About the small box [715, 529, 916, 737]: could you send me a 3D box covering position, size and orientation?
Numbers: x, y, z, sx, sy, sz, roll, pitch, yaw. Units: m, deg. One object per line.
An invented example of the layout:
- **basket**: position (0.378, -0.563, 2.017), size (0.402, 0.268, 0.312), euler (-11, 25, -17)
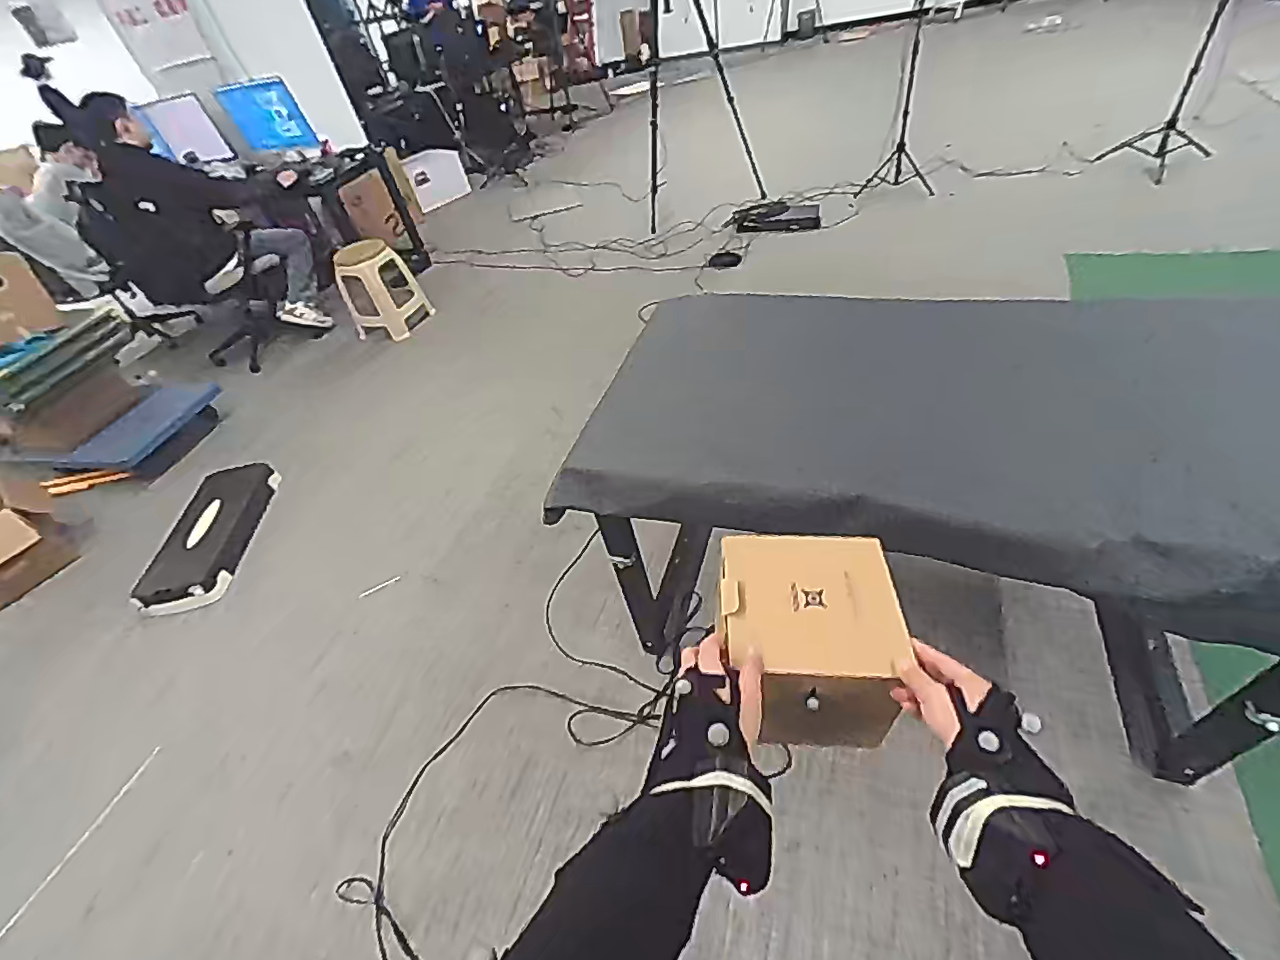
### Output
- **small box**: position (0.175, 0.172, 0.606), size (0.179, 0.176, 0.168), euler (1, 44, 4)
